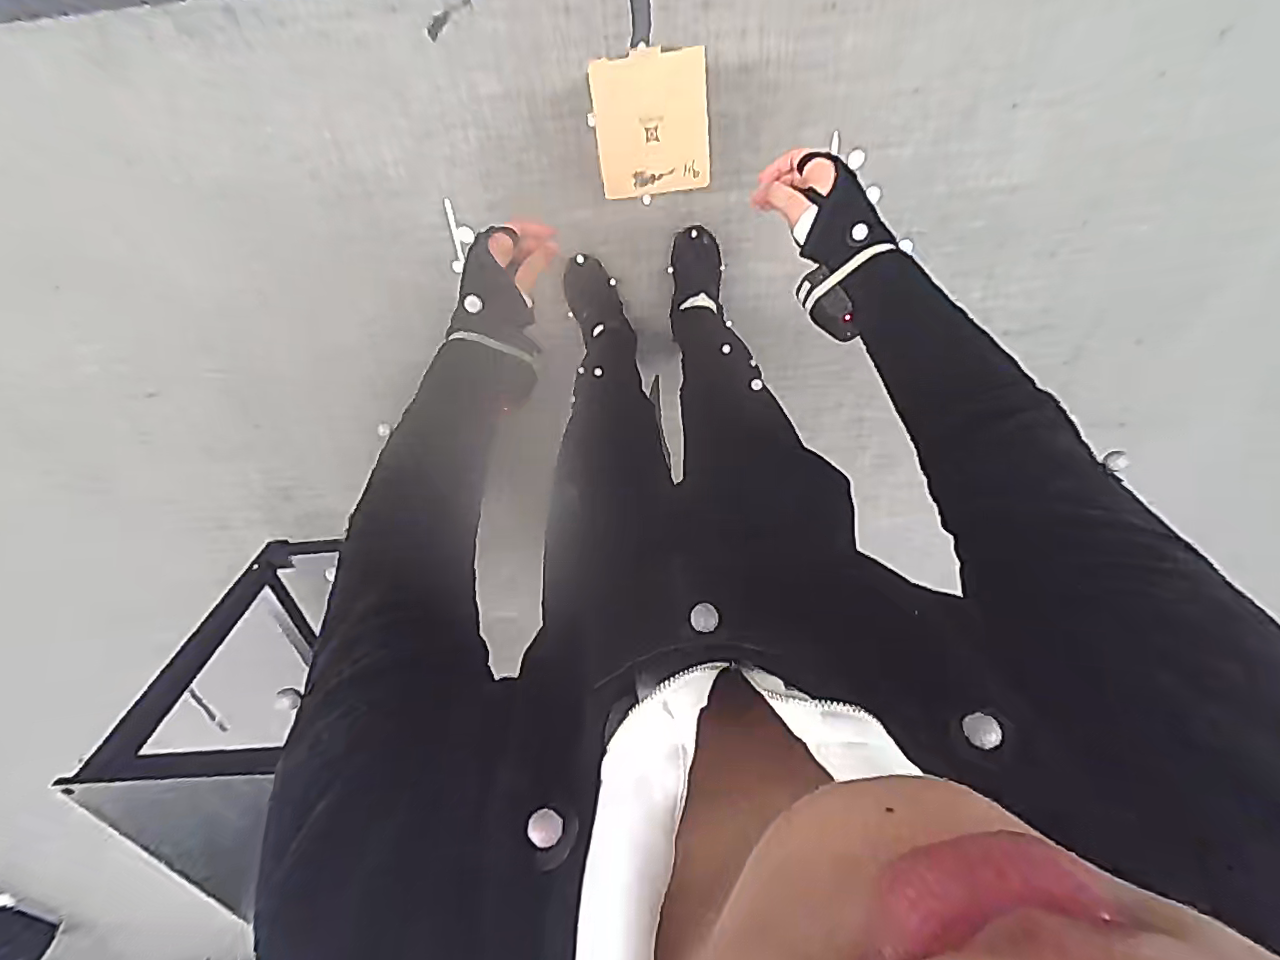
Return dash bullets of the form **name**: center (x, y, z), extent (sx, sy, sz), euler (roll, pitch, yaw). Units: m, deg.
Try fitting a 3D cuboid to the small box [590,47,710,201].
- **small box**: center (0.015, -0.558, 0.861), extent (0.168, 0.176, 0.179), euler (-7, 123, 3)
